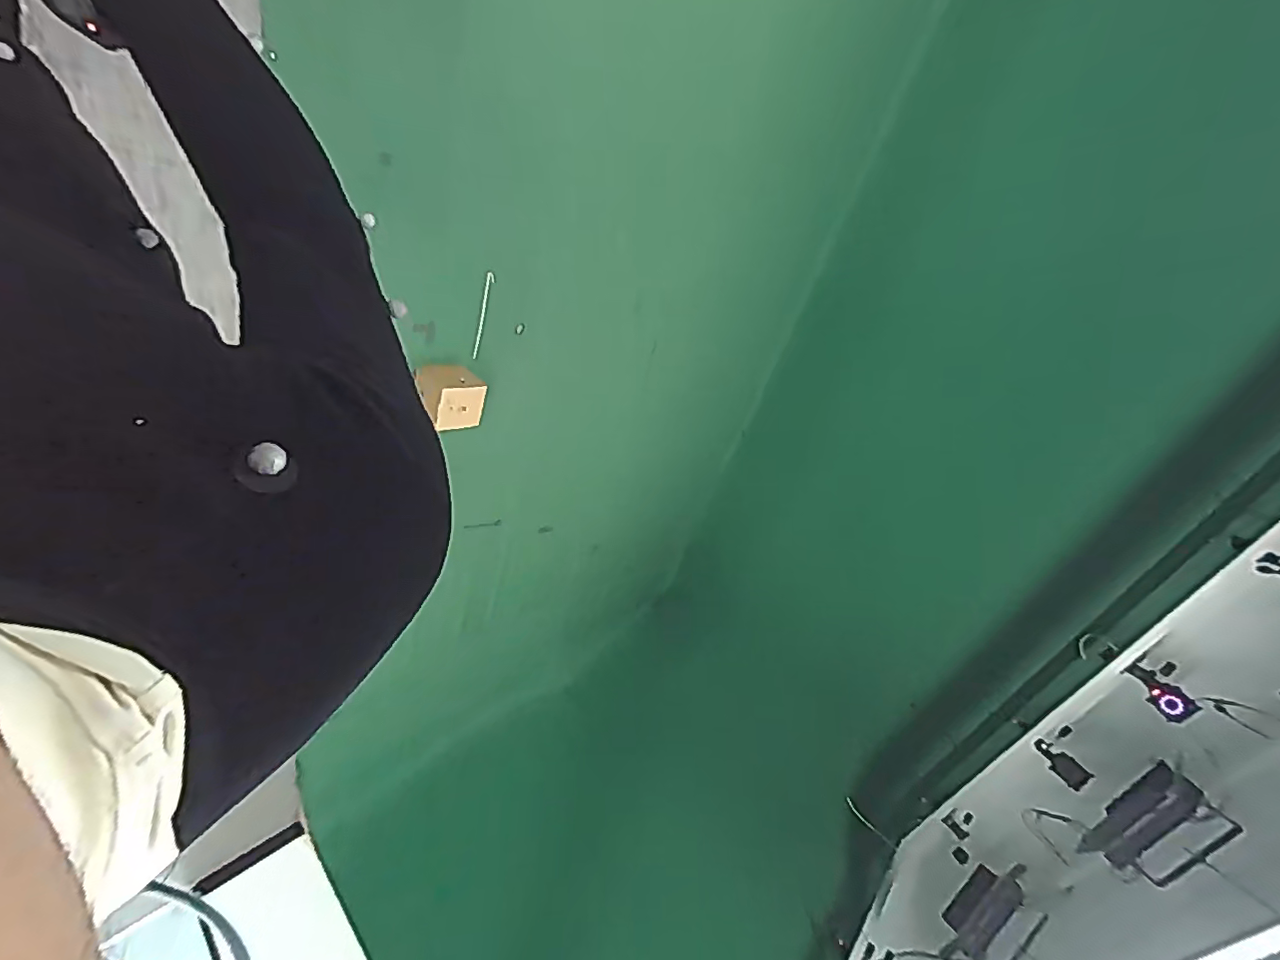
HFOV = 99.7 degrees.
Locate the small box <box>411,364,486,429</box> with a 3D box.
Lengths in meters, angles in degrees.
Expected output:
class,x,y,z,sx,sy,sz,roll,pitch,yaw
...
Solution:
class,x,y,z,sx,sy,sz,roll,pitch,yaw
small box,-0.678,-0.300,1.909,0.179,0.176,0.168,-15,136,-48
